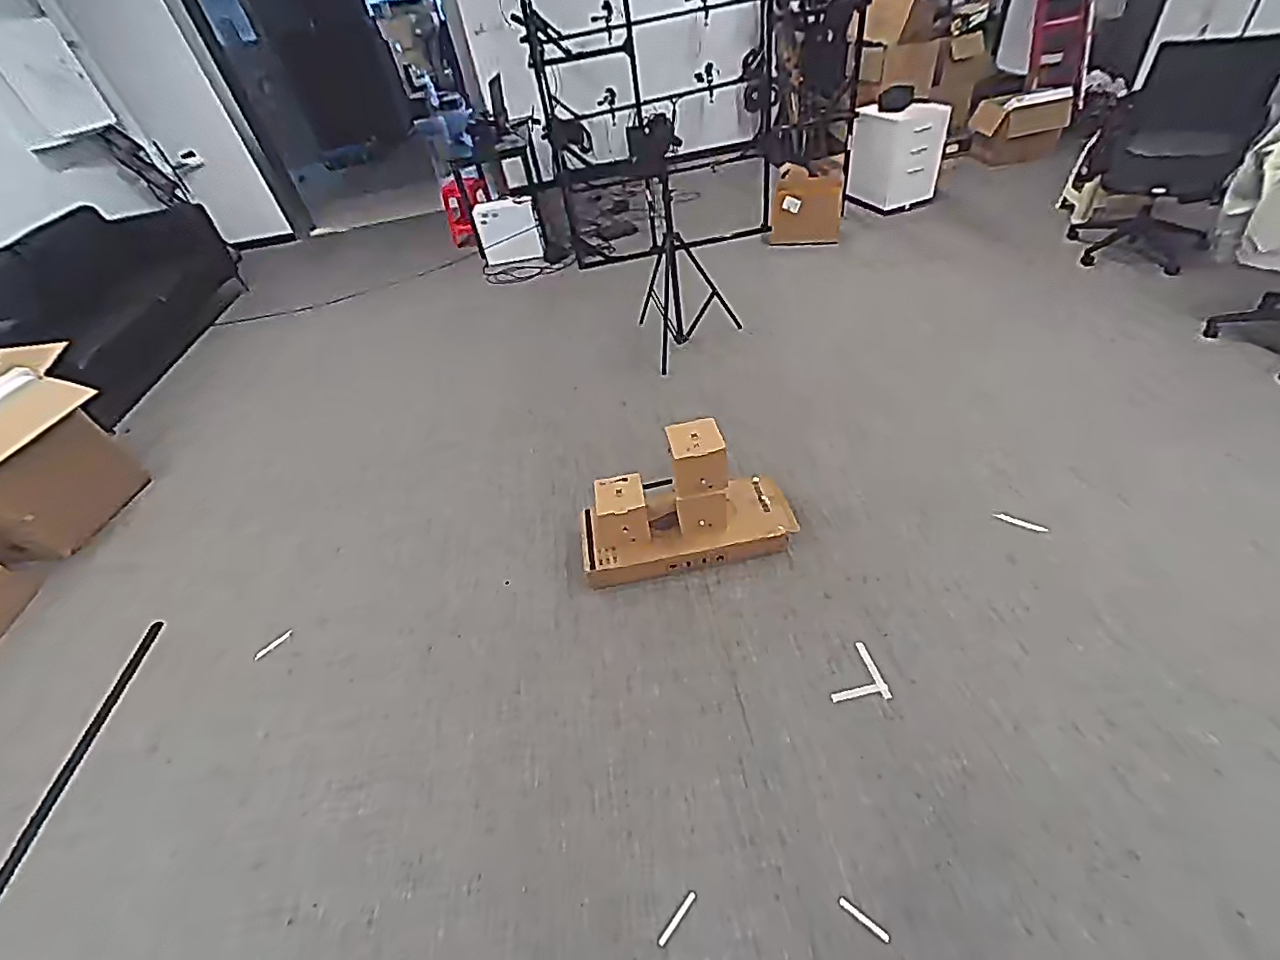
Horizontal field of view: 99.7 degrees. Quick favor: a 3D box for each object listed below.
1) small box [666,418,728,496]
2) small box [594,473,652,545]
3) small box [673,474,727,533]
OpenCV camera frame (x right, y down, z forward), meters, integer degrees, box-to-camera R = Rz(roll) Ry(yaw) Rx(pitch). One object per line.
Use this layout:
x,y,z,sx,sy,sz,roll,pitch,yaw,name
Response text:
0.186,-0.074,1.777,0.168,0.176,0.179,-12,42,-1,small box
-0.059,0.107,1.875,0.168,0.176,0.179,-12,43,1,small box
0.207,0.057,1.877,0.168,0.176,0.179,-9,43,3,small box
